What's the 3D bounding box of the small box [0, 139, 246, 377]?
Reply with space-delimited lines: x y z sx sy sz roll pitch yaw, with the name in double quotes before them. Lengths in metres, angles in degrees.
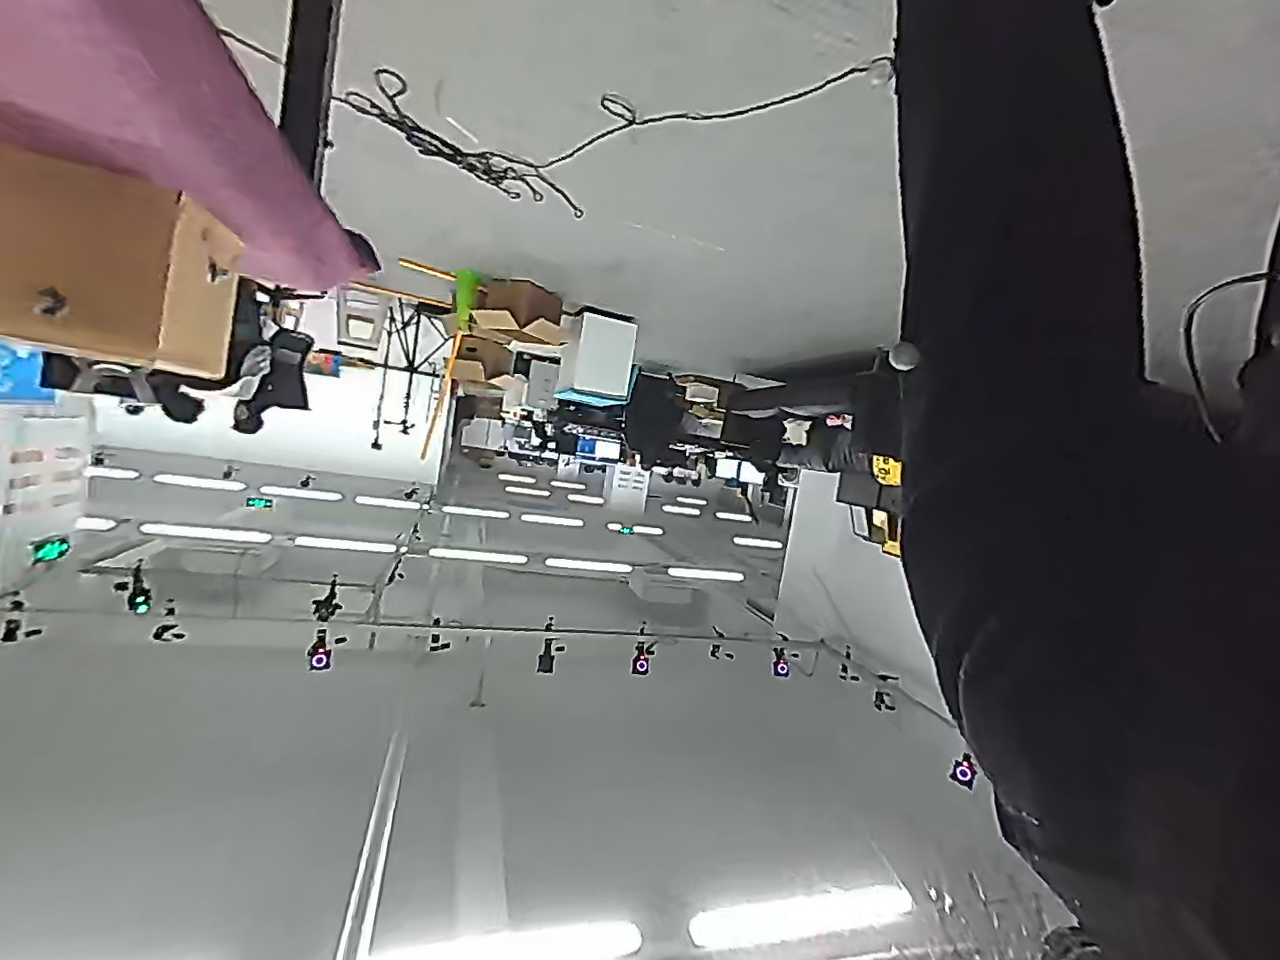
"small box" -0.541 -0.214 0.554 0.179 0.176 0.168 9 -177 -19
